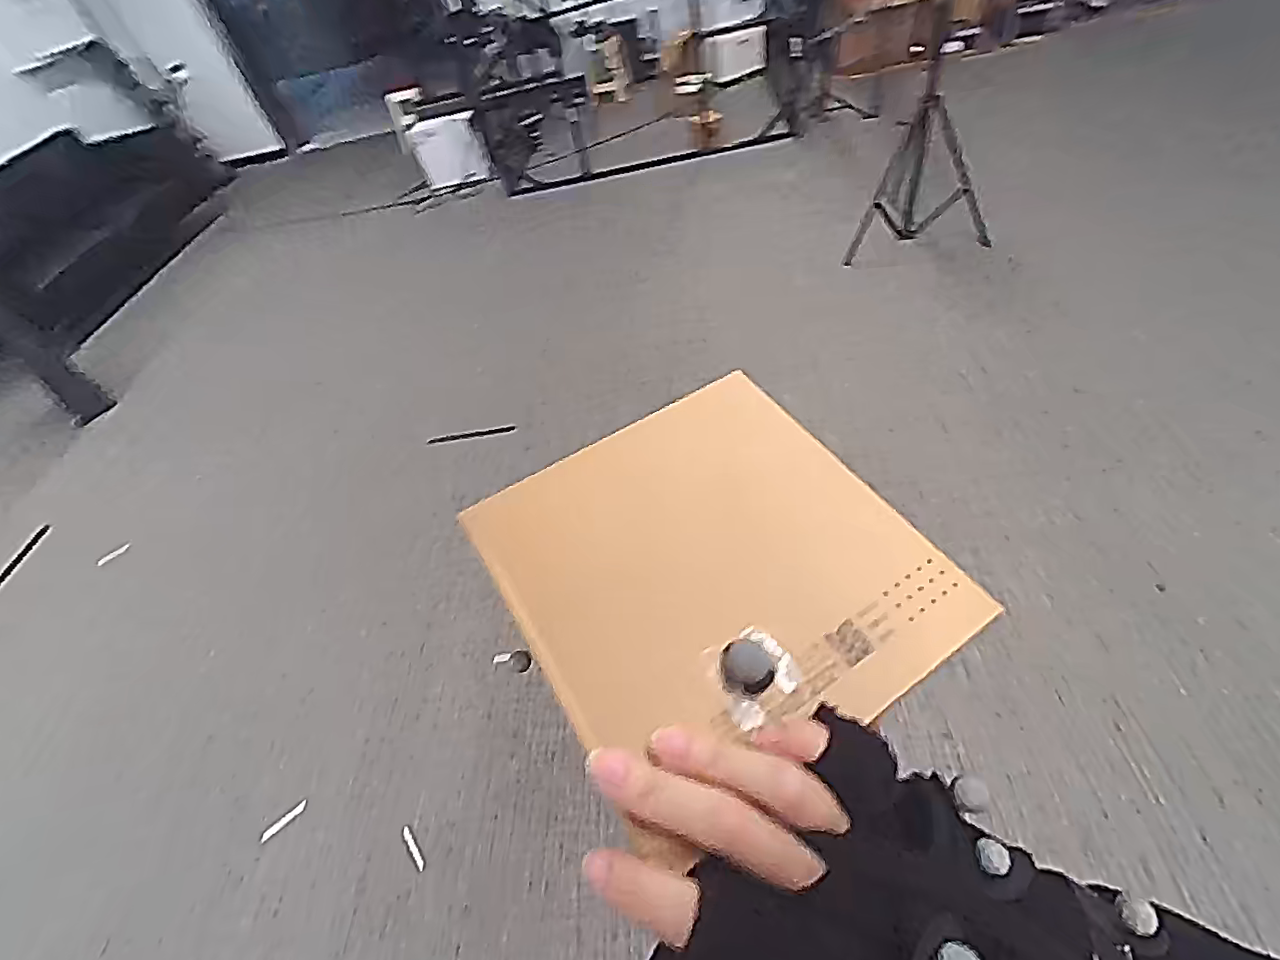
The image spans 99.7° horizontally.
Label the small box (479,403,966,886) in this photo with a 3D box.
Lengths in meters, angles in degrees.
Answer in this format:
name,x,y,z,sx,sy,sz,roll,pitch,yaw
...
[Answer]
name,x,y,z,sx,sy,sz,roll,pitch,yaw
small box,0.036,0.096,0.313,0.168,0.179,0.176,-29,58,-18
